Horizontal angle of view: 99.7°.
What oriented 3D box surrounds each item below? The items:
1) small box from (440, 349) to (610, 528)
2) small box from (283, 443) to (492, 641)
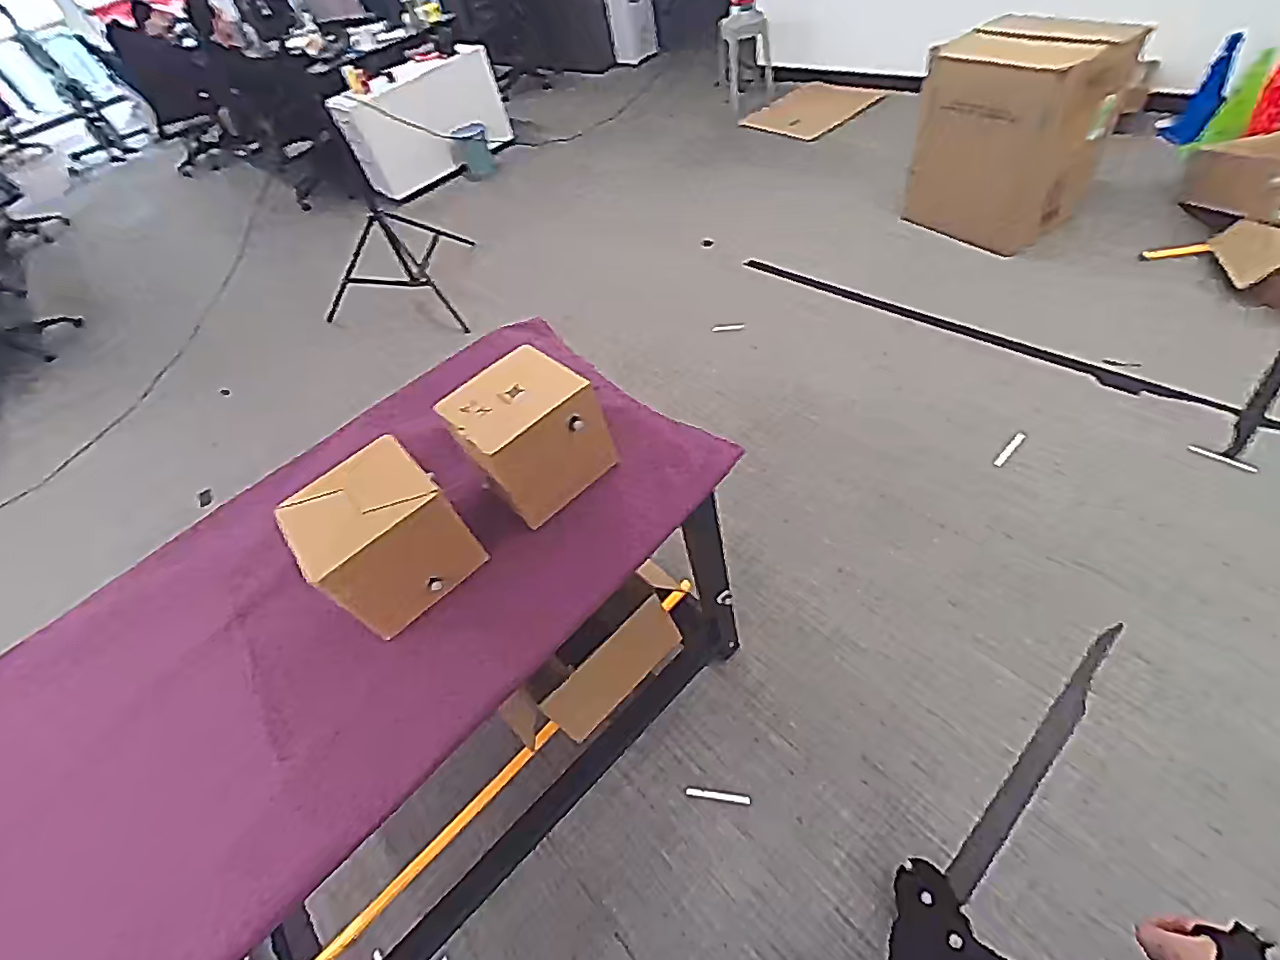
[{"bbox_3d":[-0.162,-0.064,0.825,0.179,0.176,0.168,-40,51,-19],"label":"small box"},{"bbox_3d":[-0.348,0.081,0.752,0.179,0.176,0.168,-40,52,-18],"label":"small box"}]
